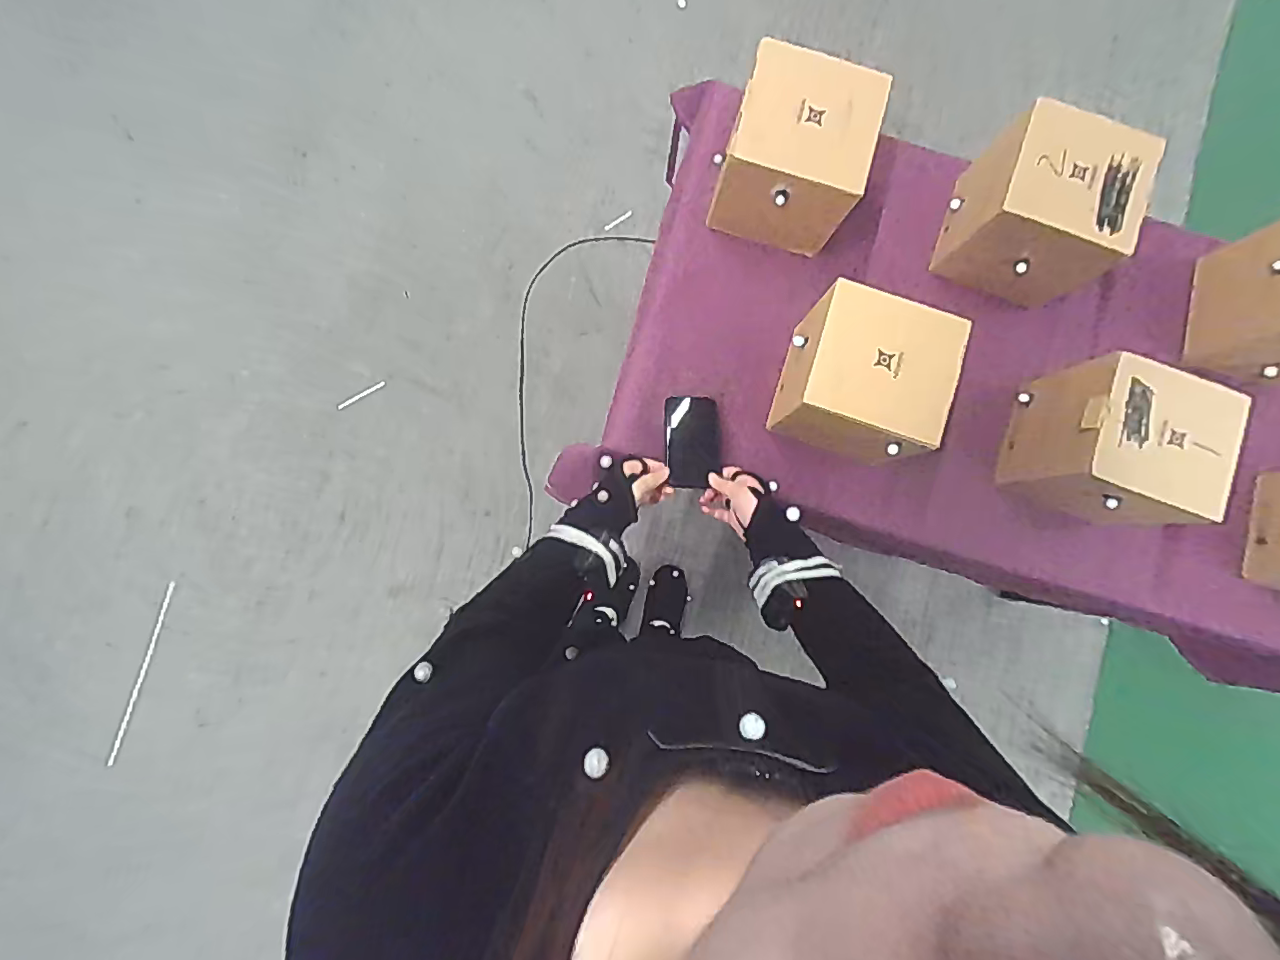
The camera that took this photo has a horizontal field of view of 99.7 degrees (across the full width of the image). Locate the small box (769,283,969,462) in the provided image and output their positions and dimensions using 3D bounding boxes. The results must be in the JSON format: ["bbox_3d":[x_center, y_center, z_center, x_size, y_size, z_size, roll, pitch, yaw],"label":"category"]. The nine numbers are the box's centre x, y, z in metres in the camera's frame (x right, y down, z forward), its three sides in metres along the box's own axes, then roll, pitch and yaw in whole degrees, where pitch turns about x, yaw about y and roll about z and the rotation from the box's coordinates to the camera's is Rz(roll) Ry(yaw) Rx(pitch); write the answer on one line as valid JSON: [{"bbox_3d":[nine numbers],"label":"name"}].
[{"bbox_3d":[0.294,-0.131,0.731,0.179,0.176,0.168,18,84,-2],"label":"small box"}]

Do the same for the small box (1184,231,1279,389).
[{"bbox_3d":[0.936,-0.248,0.766,0.168,0.176,0.179,14,84,0],"label":"small box"}]

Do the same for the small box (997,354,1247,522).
[{"bbox_3d":[0.635,-0.043,0.735,0.179,0.176,0.168,20,84,-1],"label":"small box"}]

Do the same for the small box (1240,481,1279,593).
[{"bbox_3d":[1.003,0.090,0.736,0.179,0.176,0.168,16,84,-1],"label":"small box"}]
